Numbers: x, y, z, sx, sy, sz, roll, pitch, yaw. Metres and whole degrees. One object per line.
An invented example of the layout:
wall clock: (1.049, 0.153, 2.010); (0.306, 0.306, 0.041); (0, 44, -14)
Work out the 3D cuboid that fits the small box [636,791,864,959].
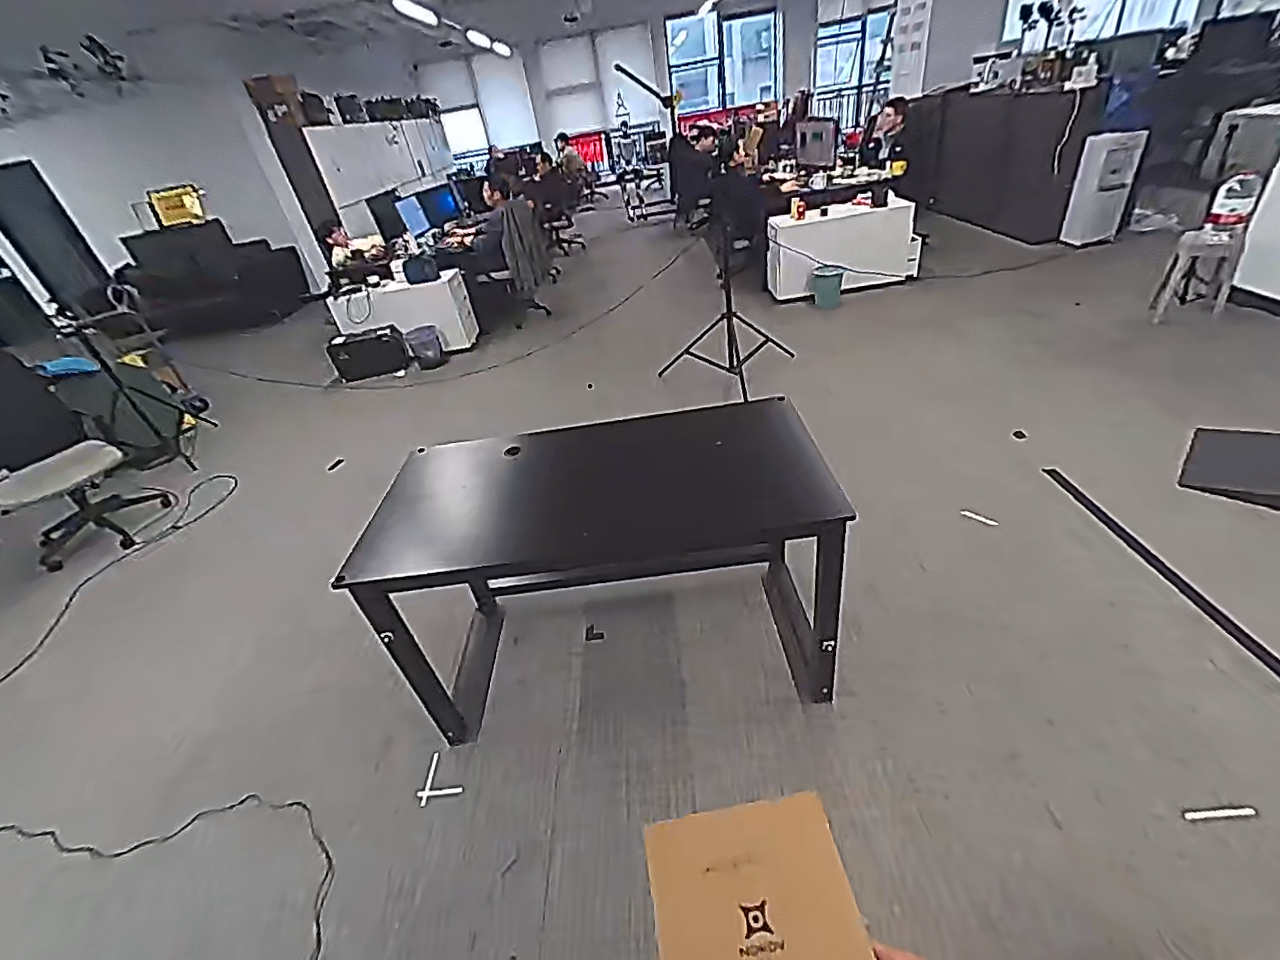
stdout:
small box: (0.097, 0.417, 0.484); (0.168, 0.176, 0.179); (-10, 38, -2)
